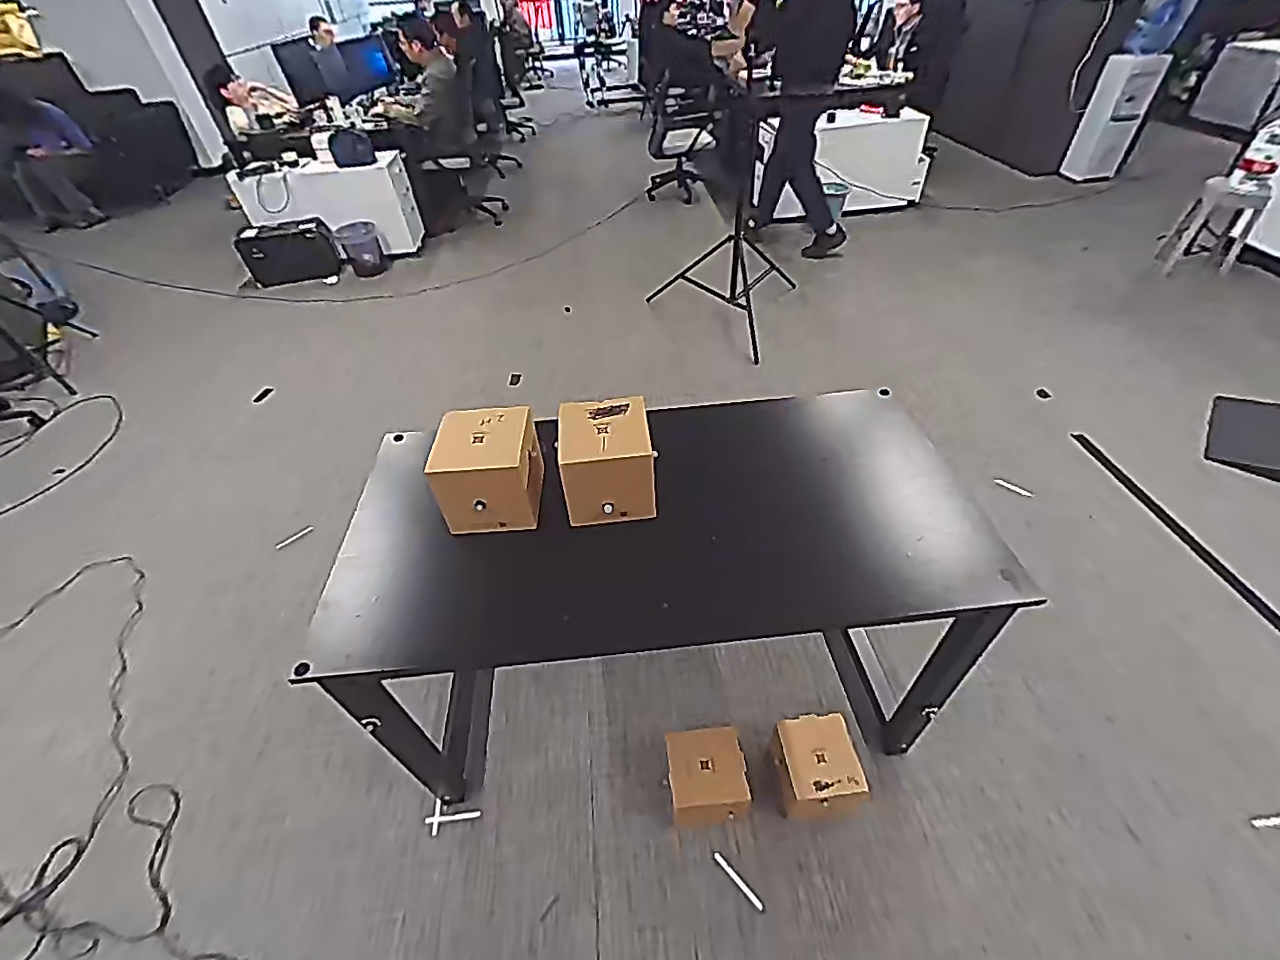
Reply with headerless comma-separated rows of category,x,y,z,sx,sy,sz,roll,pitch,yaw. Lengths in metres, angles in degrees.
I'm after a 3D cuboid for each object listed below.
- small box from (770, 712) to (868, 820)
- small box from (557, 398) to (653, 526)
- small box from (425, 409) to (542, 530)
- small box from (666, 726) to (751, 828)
small box,0.420,0.690,1.304,0.168,0.176,0.179,-7,44,-2
small box,-0.065,-0.035,1.046,0.168,0.176,0.179,-6,45,-2
small box,-0.289,-0.015,1.044,0.168,0.176,0.179,-3,44,0
small box,0.158,0.717,1.303,0.179,0.176,0.168,-7,43,-1
